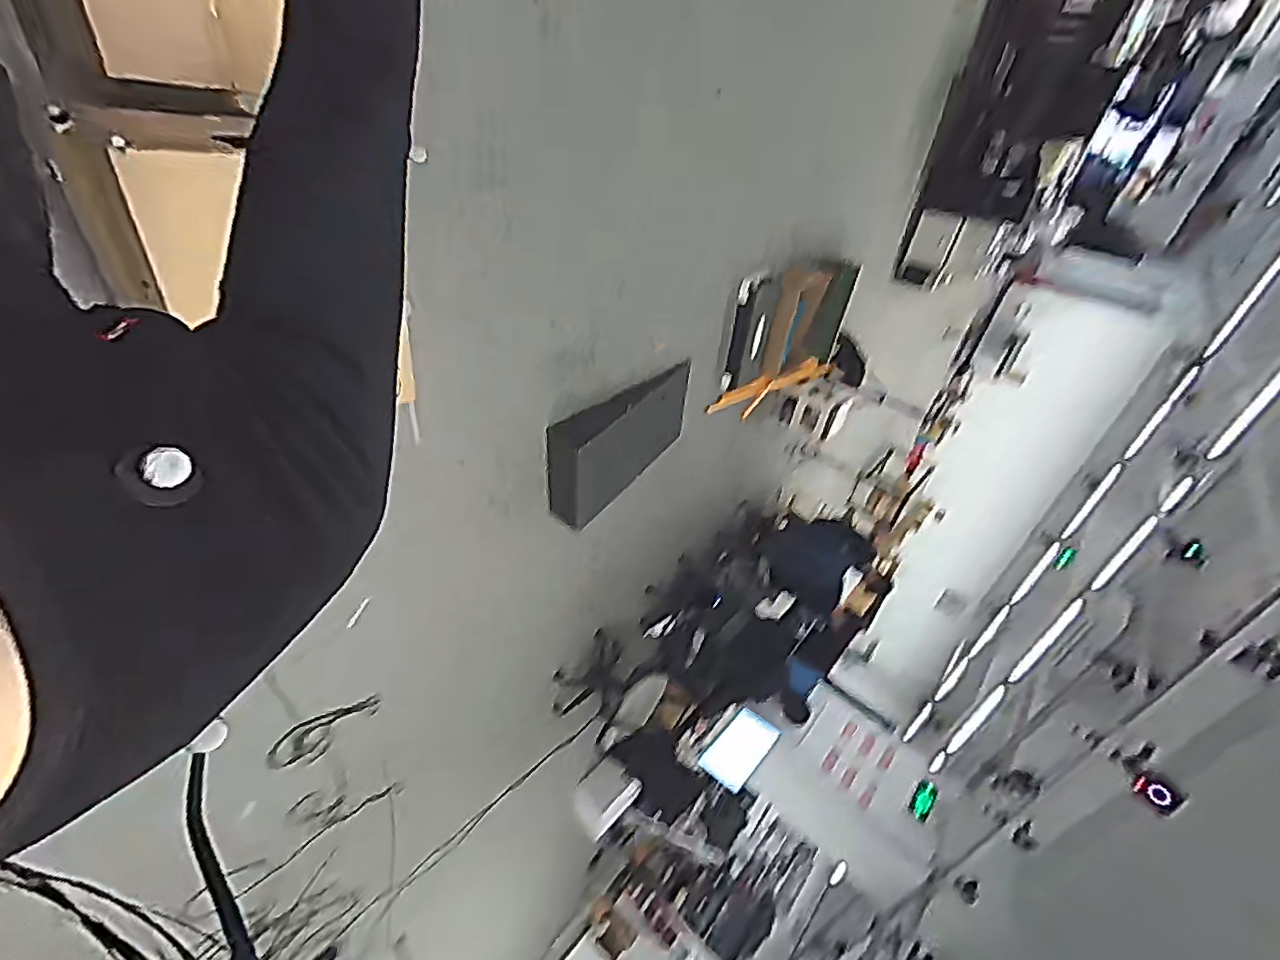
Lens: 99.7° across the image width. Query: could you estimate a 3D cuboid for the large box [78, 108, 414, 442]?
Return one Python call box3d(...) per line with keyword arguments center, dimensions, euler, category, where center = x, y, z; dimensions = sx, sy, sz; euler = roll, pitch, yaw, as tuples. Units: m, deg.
box3d(center=(-0.606, -0.335, 0.878), dimensions=(0.320, 0.320, 0.408), euler=(-24, 136, -38), category="large box")
